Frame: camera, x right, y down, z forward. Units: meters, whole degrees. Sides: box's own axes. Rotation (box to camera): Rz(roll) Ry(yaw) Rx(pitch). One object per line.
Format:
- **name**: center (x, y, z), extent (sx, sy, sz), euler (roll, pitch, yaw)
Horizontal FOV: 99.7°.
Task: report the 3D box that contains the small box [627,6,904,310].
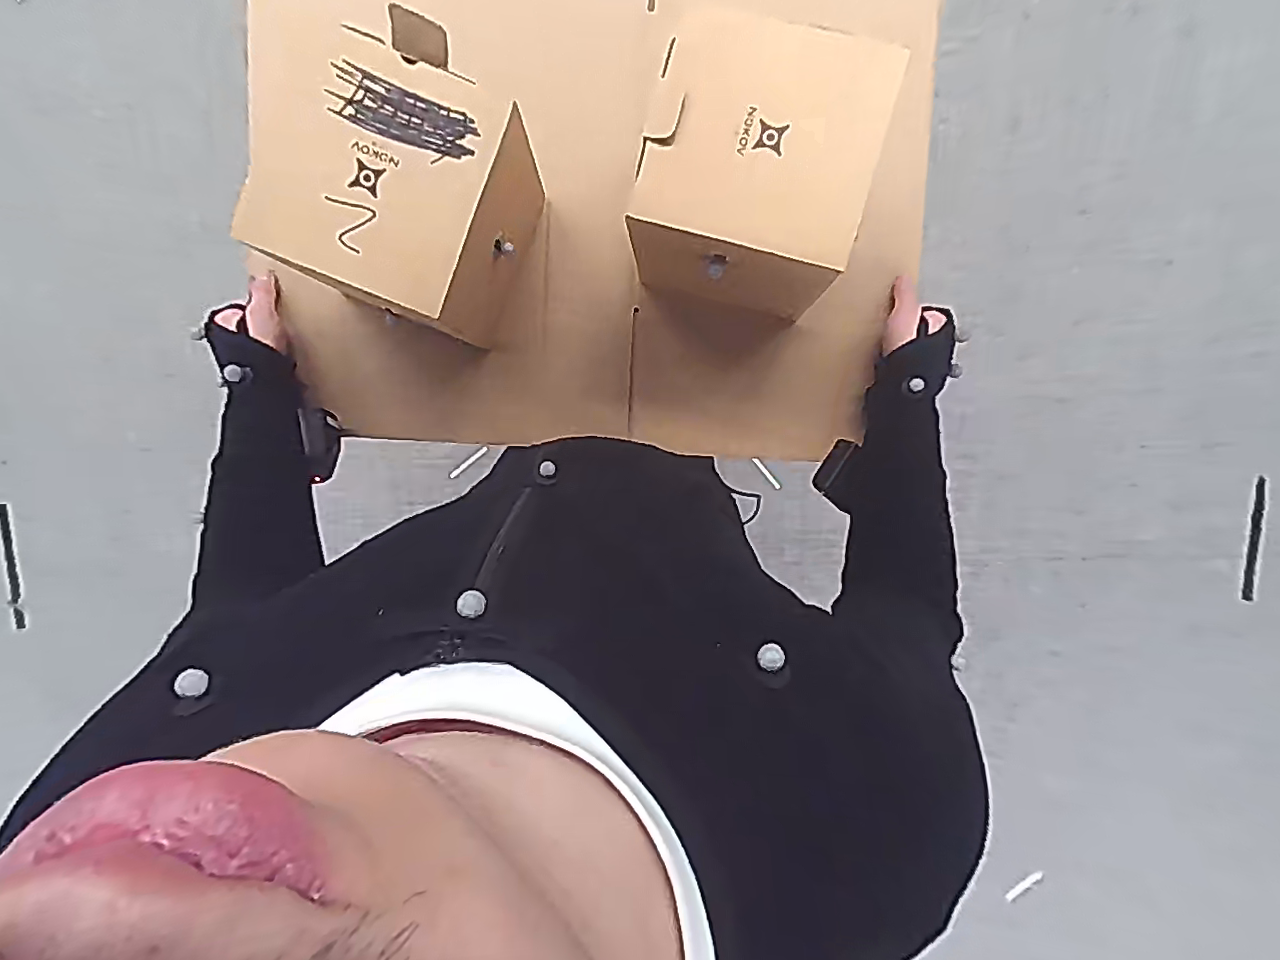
- **small box**: center (0.101, -0.268, 0.496), extent (0.179, 0.176, 0.168), euler (16, 95, 4)
